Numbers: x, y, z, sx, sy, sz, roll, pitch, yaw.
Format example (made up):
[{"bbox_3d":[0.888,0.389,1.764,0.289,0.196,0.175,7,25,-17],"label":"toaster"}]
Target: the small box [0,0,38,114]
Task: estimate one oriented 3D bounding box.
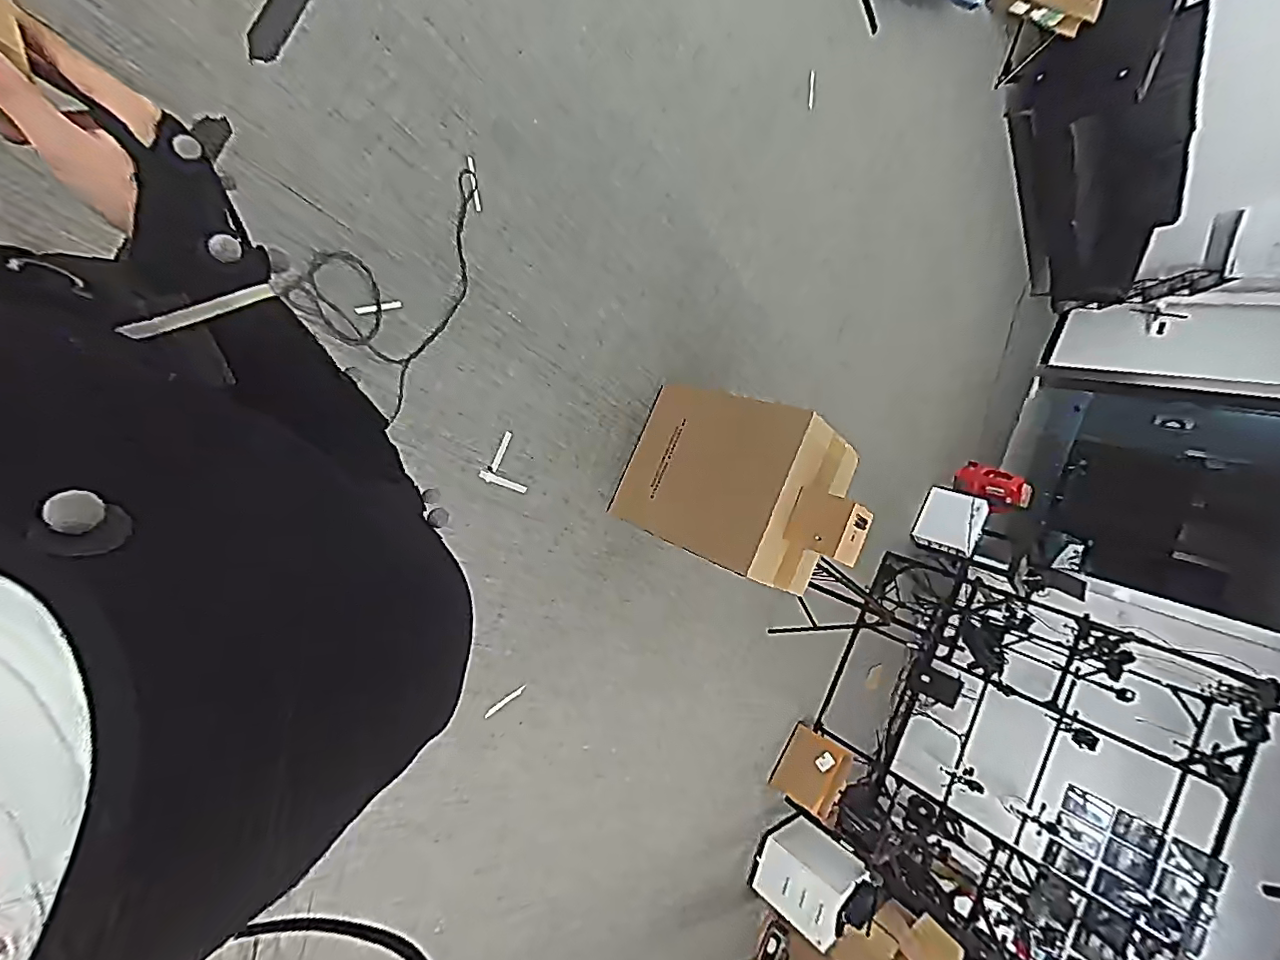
[{"bbox_3d":[-0.411,-0.281,0.237,0.168,0.176,0.179,-19,124,-45],"label":"small box"}]
